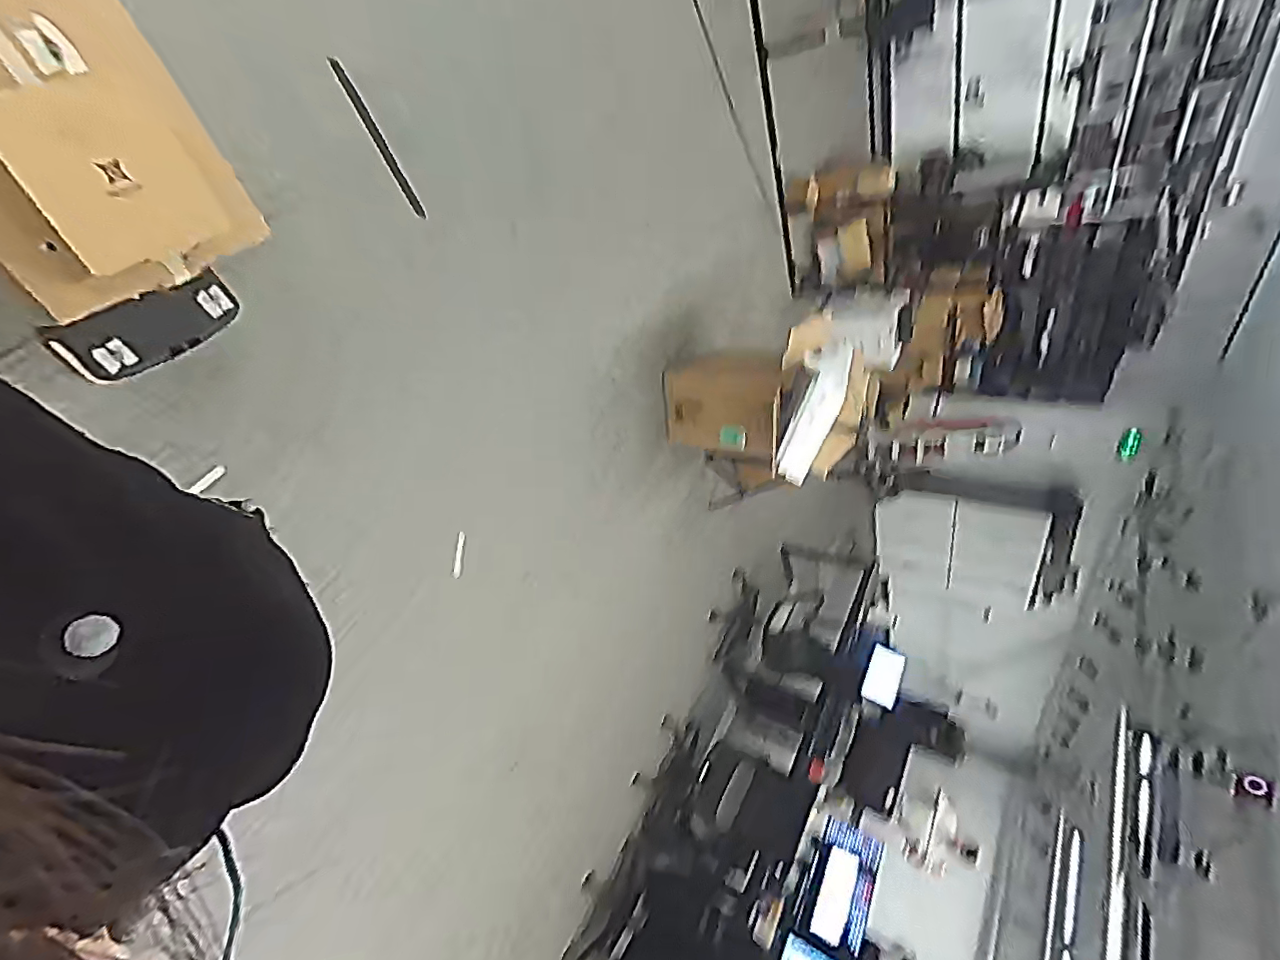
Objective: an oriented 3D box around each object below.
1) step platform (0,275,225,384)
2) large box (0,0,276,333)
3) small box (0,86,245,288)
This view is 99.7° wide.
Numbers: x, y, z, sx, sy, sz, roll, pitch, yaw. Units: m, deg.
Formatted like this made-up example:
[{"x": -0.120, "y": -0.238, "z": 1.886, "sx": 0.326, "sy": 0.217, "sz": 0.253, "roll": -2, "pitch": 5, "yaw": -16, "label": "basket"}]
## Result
[{"x": -1.050, "y": -0.507, "z": 0.888, "sx": 0.286, "sy": 0.204, "sz": 0.684, "roll": -48, "pitch": 134, "yaw": -36, "label": "step platform"}, {"x": -0.847, "y": -0.463, "z": 0.769, "sx": 0.320, "sy": 0.320, "sz": 0.408, "roll": -51, "pitch": 135, "yaw": -35, "label": "large box"}, {"x": -0.642, "y": -0.347, "z": 0.659, "sx": 0.168, "sy": 0.176, "sz": 0.179, "roll": -46, "pitch": 133, "yaw": -37, "label": "small box"}]
